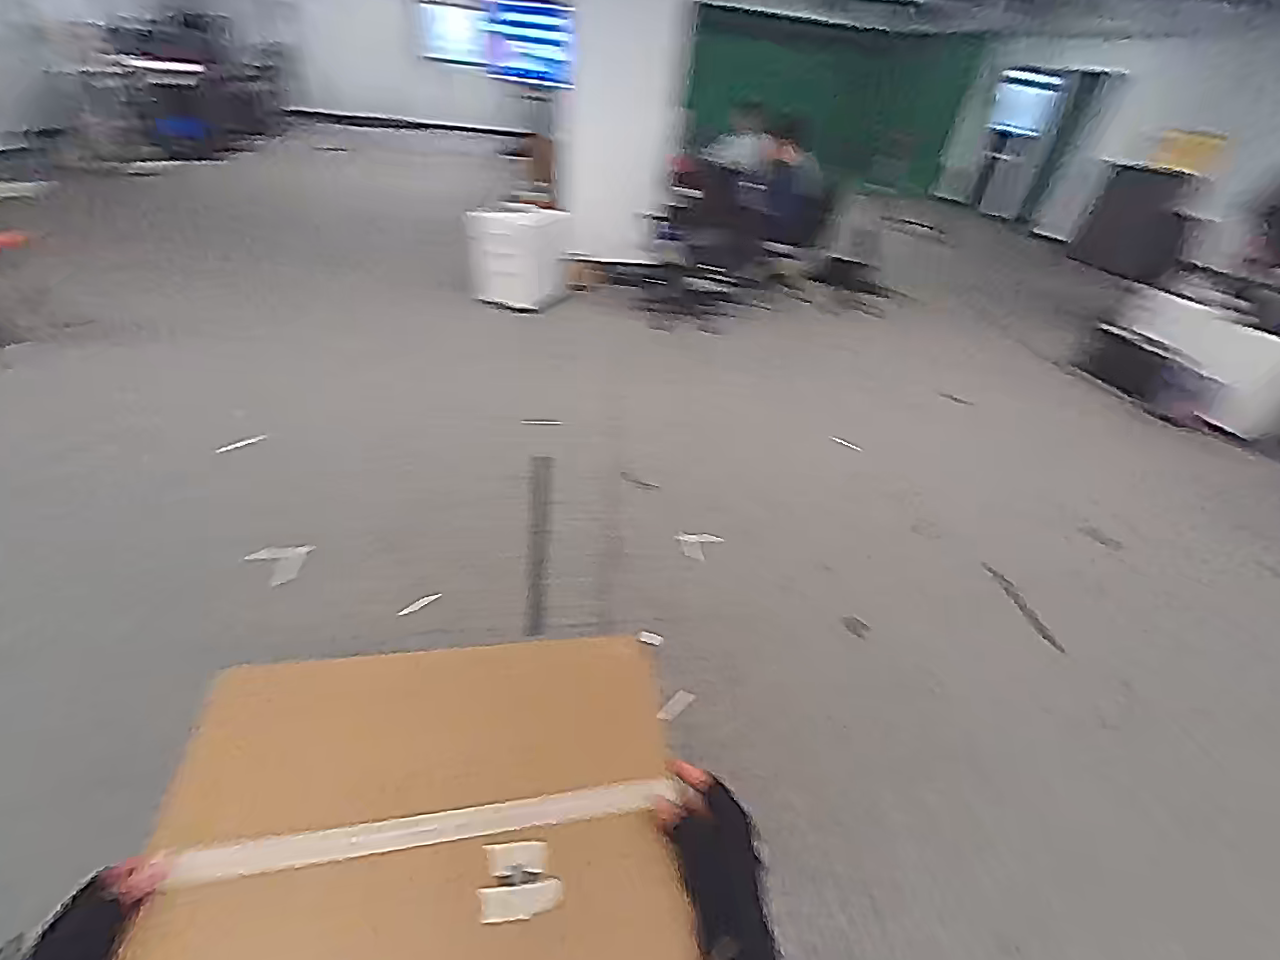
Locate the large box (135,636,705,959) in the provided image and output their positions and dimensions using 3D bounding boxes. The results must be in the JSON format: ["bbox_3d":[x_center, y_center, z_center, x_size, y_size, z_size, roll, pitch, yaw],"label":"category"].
[{"bbox_3d":[-0.190,0.392,0.559,0.408,0.320,0.320,-1,47,-14],"label":"large box"}]
